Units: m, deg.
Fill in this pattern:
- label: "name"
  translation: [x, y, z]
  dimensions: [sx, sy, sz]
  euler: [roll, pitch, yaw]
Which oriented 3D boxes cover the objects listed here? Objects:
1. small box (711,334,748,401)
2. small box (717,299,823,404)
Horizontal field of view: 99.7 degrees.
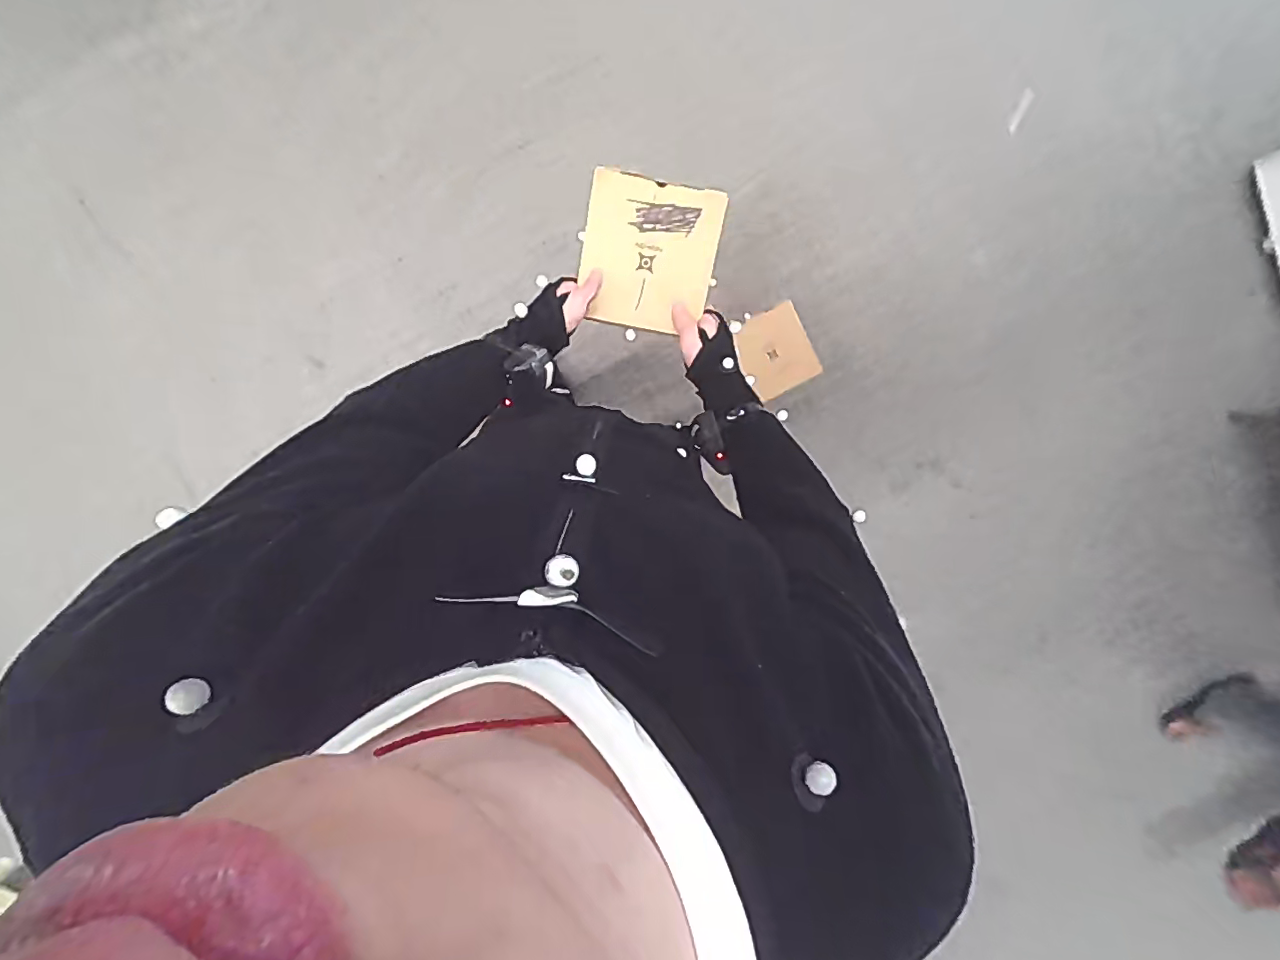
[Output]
- label: "small box"
  translation: [0.298, -0.323, 1.406]
  dimensions: [0.168, 0.176, 0.179]
  euler: [-26, 100, 6]
- label: "small box"
  translation: [0.291, -0.290, 1.247]
  dimensions: [0.168, 0.176, 0.179]
  euler: [-27, 100, 7]
